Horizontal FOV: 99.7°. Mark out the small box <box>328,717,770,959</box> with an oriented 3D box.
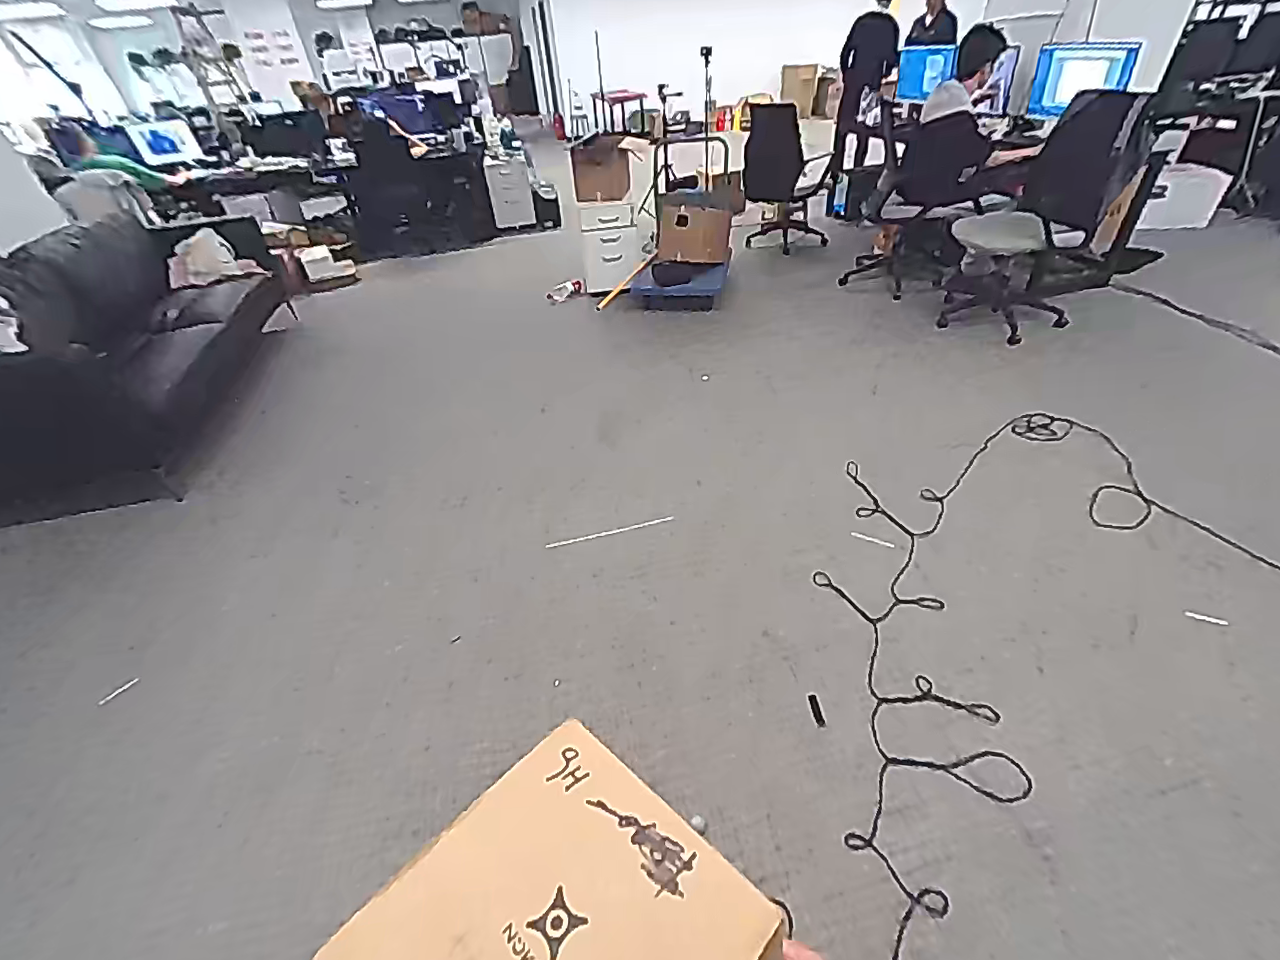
[{"bbox_3d":[-0.036,0.293,0.320,0.168,0.176,0.179,24,46,39],"label":"small box"}]
